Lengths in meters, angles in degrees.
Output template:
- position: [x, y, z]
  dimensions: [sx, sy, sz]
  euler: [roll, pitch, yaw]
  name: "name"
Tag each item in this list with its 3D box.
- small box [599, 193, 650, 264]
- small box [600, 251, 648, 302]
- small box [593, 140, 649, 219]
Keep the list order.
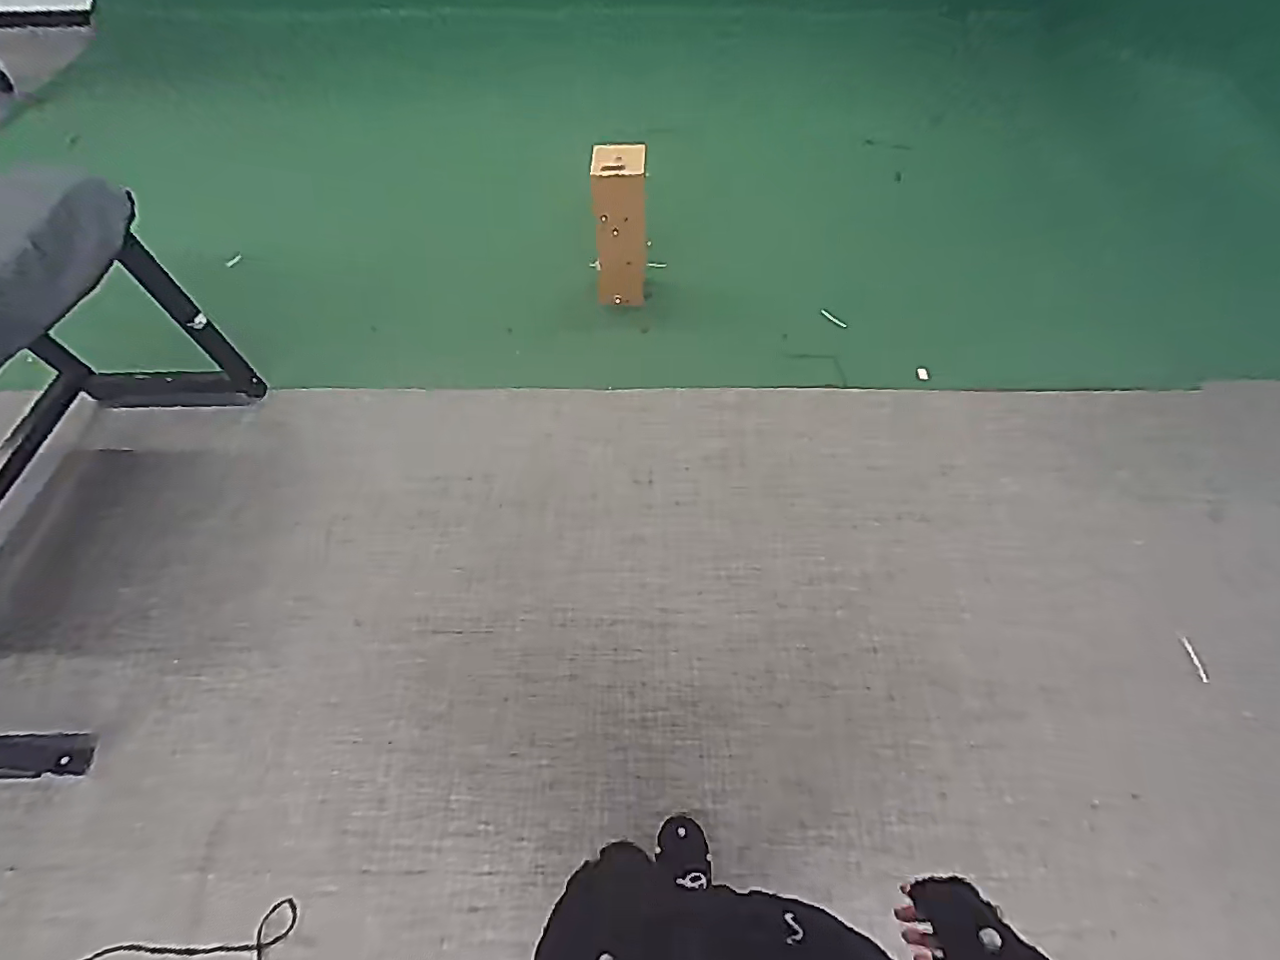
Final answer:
- position: [-0.050, -0.880, 1.884]
  dimensions: [0.168, 0.176, 0.179]
  euler: [1, 58, 2]
  name: "small box"
- position: [-0.056, -0.791, 2.021]
  dimensions: [0.168, 0.176, 0.179]
  euler: [1, 60, 2]
  name: "small box"
- position: [-0.056, -0.965, 1.743]
  dimensions: [0.168, 0.176, 0.179]
  euler: [1, 58, 2]
  name: "small box"
